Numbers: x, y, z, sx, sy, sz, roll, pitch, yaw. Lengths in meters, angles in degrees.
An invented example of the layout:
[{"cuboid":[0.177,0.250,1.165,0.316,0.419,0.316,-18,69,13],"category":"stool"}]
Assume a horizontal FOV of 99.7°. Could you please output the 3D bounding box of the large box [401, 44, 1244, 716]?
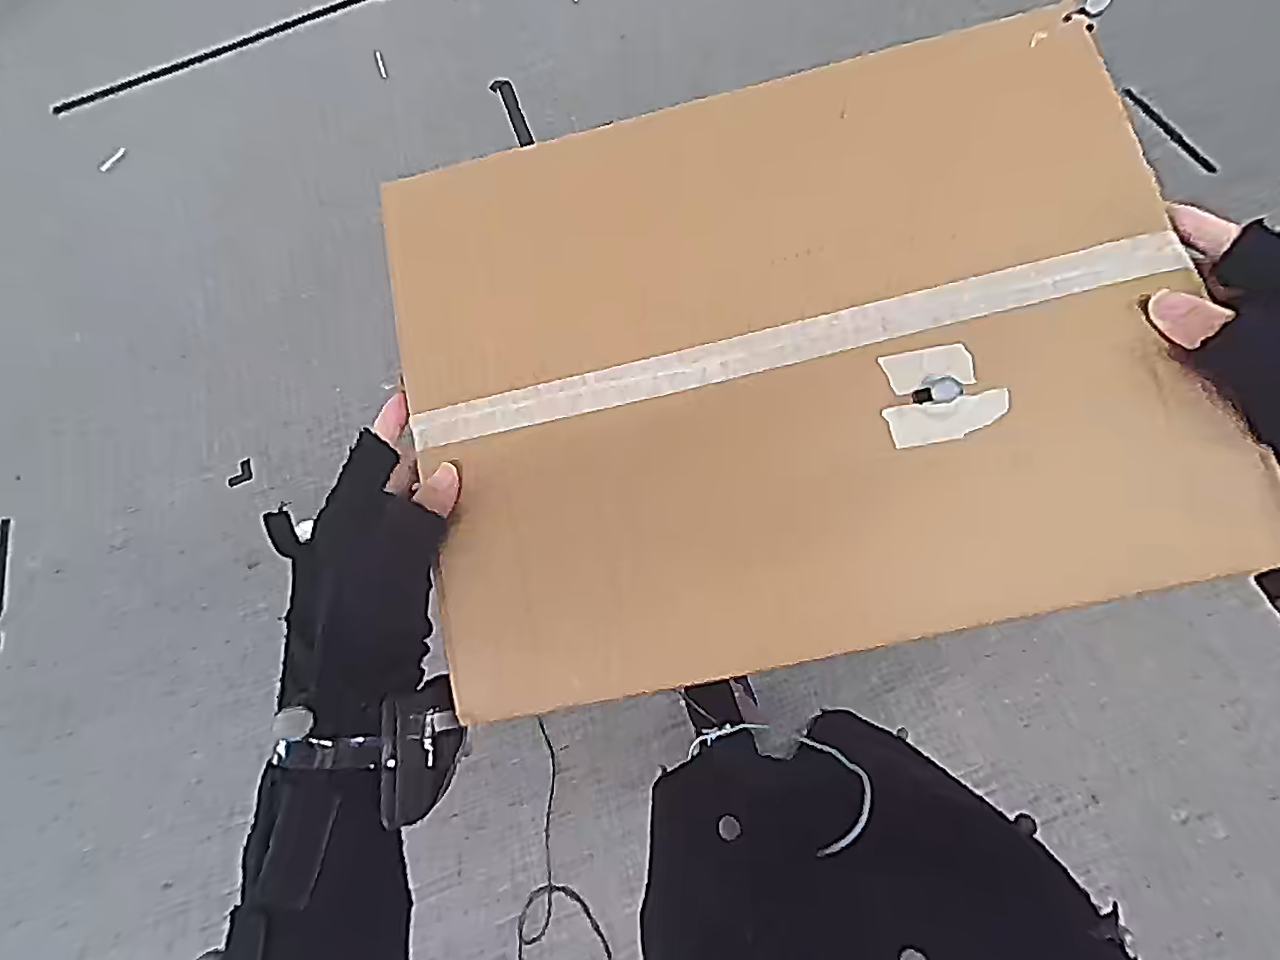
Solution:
[{"cuboid":[0.086,-0.042,0.447,0.408,0.320,0.320,-13,81,3],"category":"large box"}]
